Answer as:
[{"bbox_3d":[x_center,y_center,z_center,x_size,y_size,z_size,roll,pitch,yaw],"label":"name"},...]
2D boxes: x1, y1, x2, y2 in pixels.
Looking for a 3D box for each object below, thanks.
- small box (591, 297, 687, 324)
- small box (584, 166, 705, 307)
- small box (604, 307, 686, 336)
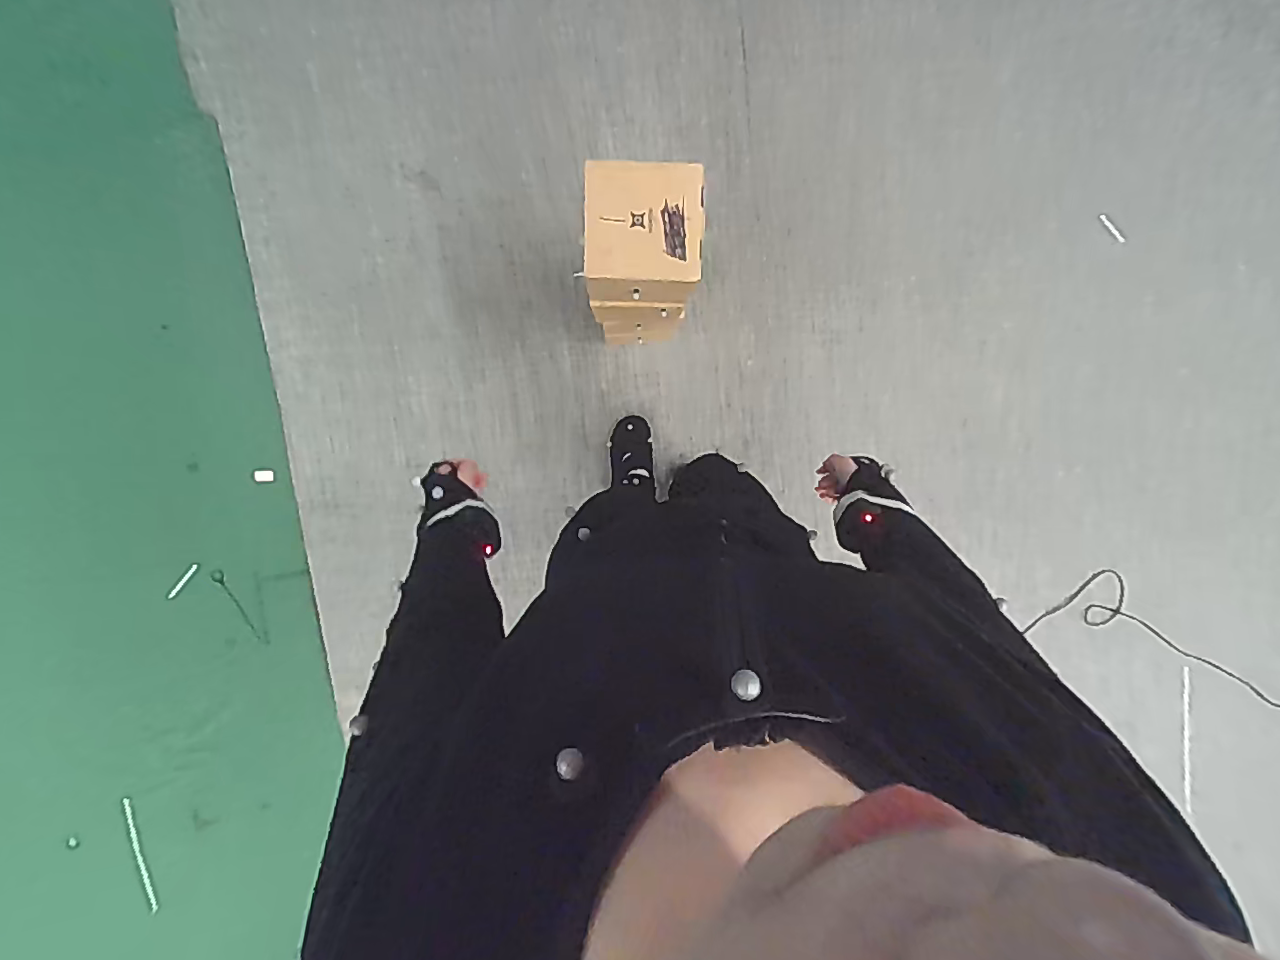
[{"bbox_3d":[-0.004,-0.398,1.040,0.179,0.176,0.168,-1,97,-2],"label":"small box"},{"bbox_3d":[0.005,-0.383,0.877,0.179,0.176,0.168,1,96,0],"label":"small box"},{"bbox_3d":[0.004,-0.418,1.202,0.179,0.176,0.168,-4,98,-1],"label":"small box"}]
